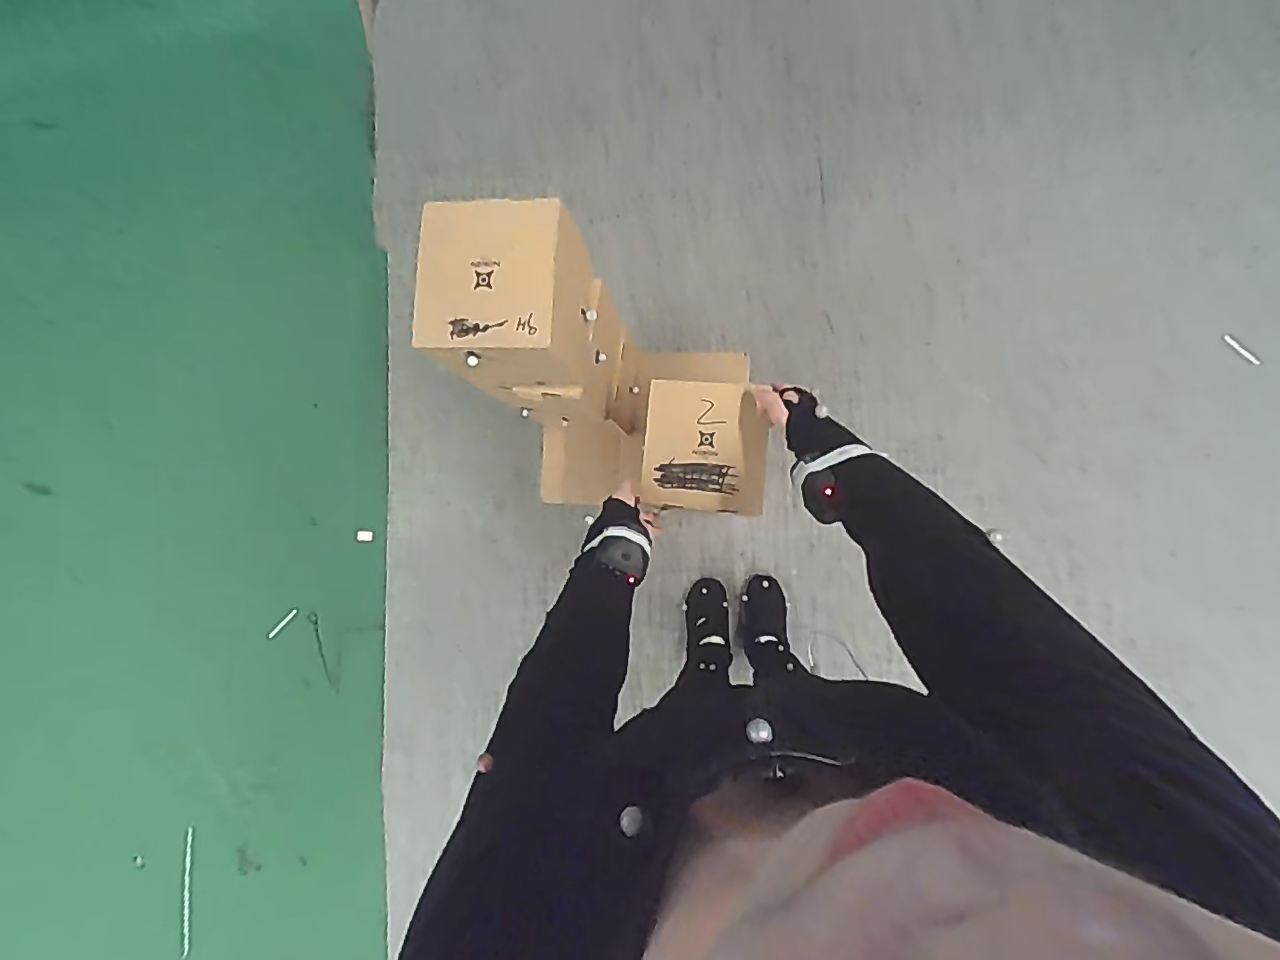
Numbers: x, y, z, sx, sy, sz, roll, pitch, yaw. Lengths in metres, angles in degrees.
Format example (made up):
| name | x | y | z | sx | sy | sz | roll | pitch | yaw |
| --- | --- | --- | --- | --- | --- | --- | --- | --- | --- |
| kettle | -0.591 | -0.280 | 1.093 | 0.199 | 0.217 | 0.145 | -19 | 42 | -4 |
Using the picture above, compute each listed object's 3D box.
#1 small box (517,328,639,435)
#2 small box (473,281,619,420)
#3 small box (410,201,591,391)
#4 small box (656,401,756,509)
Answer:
| name | x | y | z | sx | sy | sz | roll | pitch | yaw |
| --- | --- | --- | --- | --- | --- | --- | --- | --- | --- |
| small box | -0.108 | -0.184 | 1.012 | 0.179 | 0.176 | 0.168 | 8 | 86 | 8 |
| small box | -0.136 | -0.201 | 0.851 | 0.168 | 0.176 | 0.179 | 10 | 85 | 9 |
| small box | -0.163 | -0.224 | 0.689 | 0.168 | 0.176 | 0.179 | 2 | 84 | 9 |
| small box | 0.119 | -0.037 | 0.964 | 0.168 | 0.176 | 0.179 | -1 | 85 | 8 |
